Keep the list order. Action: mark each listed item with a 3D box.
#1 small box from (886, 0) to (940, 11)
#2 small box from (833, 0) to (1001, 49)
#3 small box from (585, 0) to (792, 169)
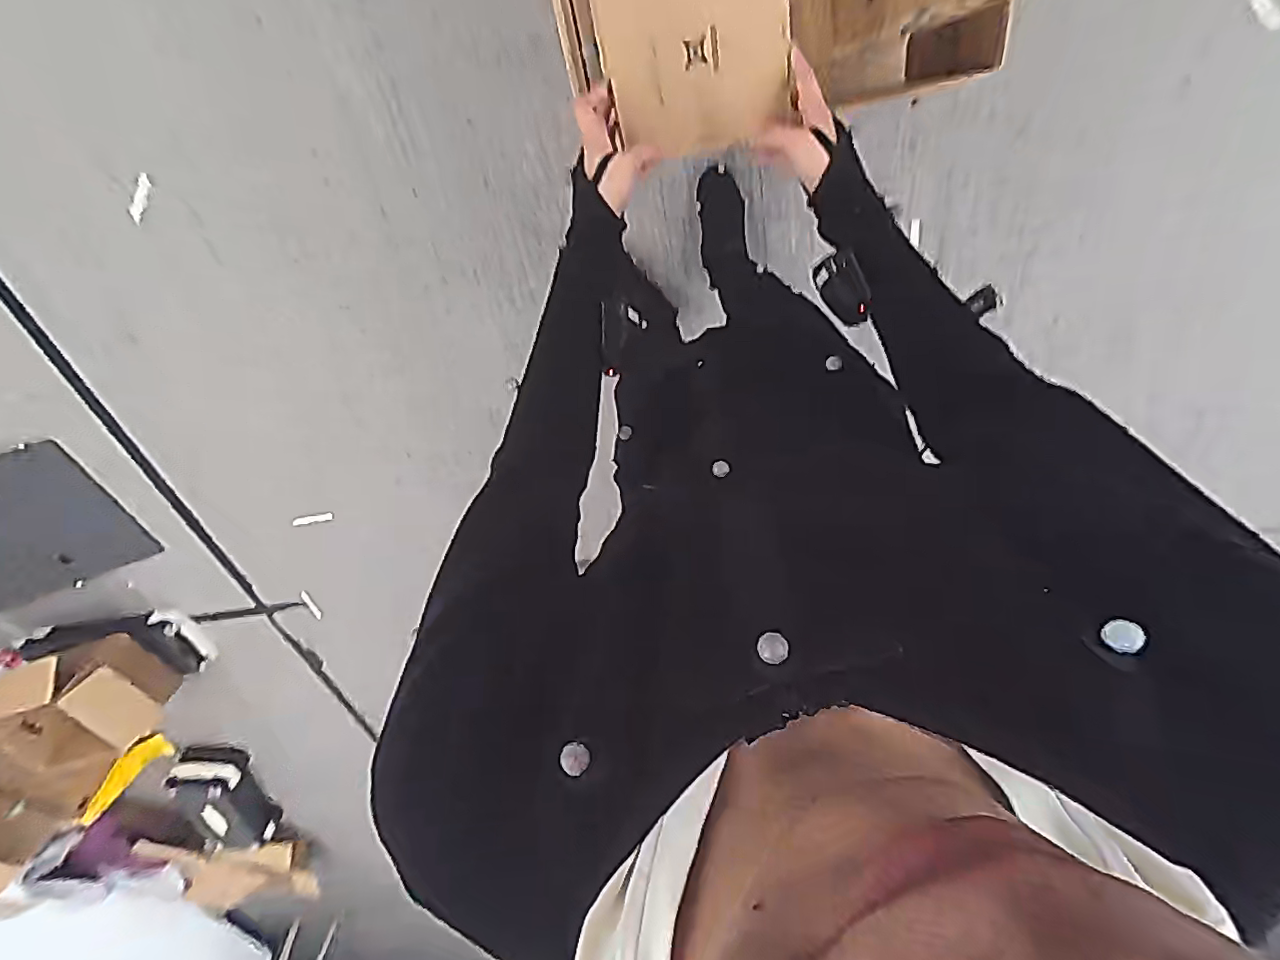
[{"bbox_3d":[0.318,-0.552,0.476,0.168,0.176,0.179,-15,122,8],"label":"small box"},{"bbox_3d":[0.326,-0.632,0.619,0.168,0.176,0.179,-12,123,7],"label":"small box"},{"bbox_3d":[0.046,-0.449,0.566,0.179,0.176,0.168,-12,129,1],"label":"small box"}]
